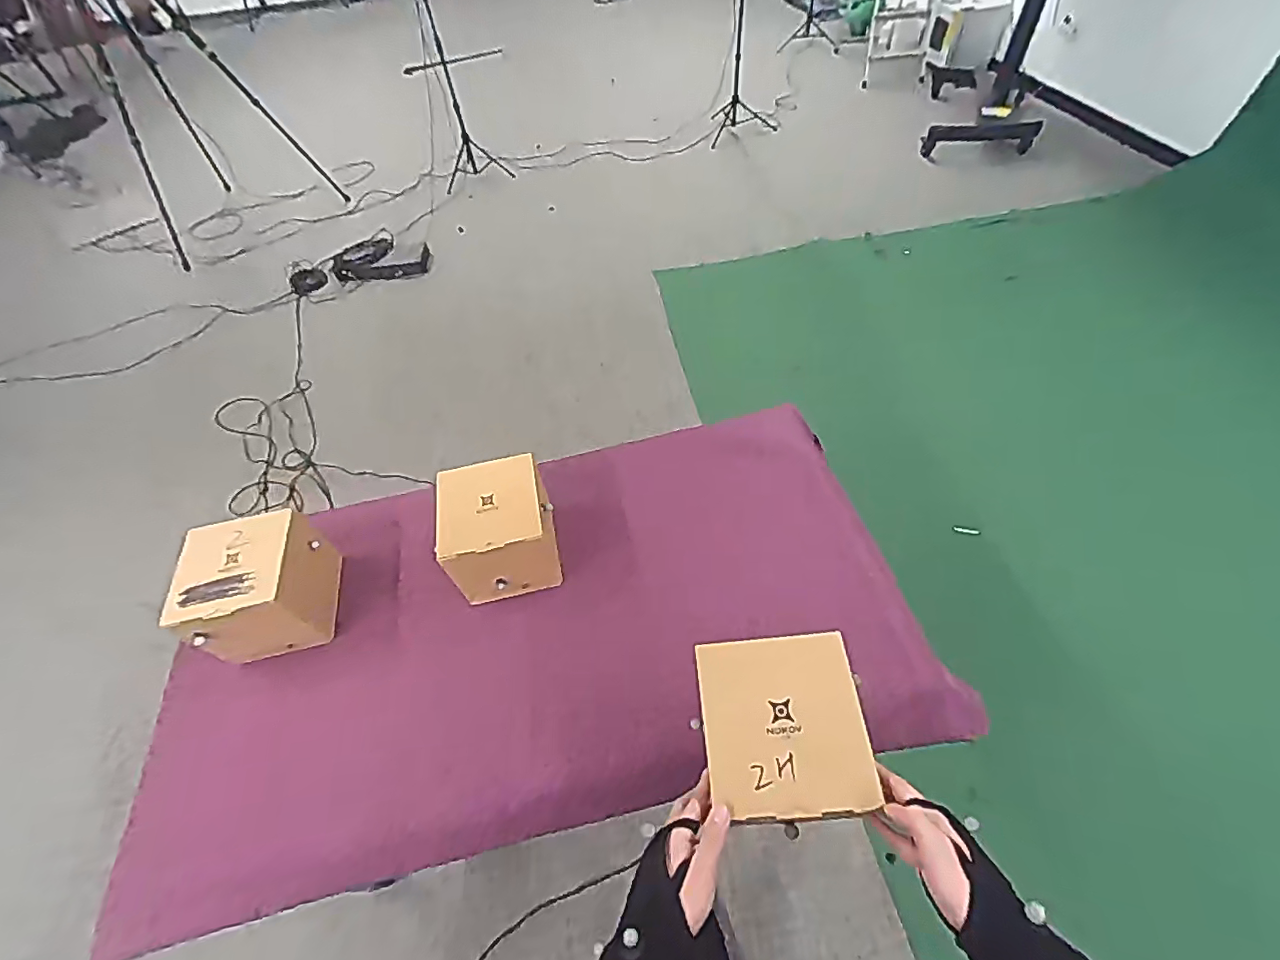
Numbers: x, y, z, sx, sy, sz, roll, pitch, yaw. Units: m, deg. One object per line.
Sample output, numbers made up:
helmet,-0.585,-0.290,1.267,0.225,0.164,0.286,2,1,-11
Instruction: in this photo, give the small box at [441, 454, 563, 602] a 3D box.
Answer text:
small box,-0.236,0.085,0.937,0.168,0.176,0.179,-12,54,-5

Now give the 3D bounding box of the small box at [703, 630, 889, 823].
small box,0.164,0.291,0.630,0.168,0.176,0.179,-7,56,6
